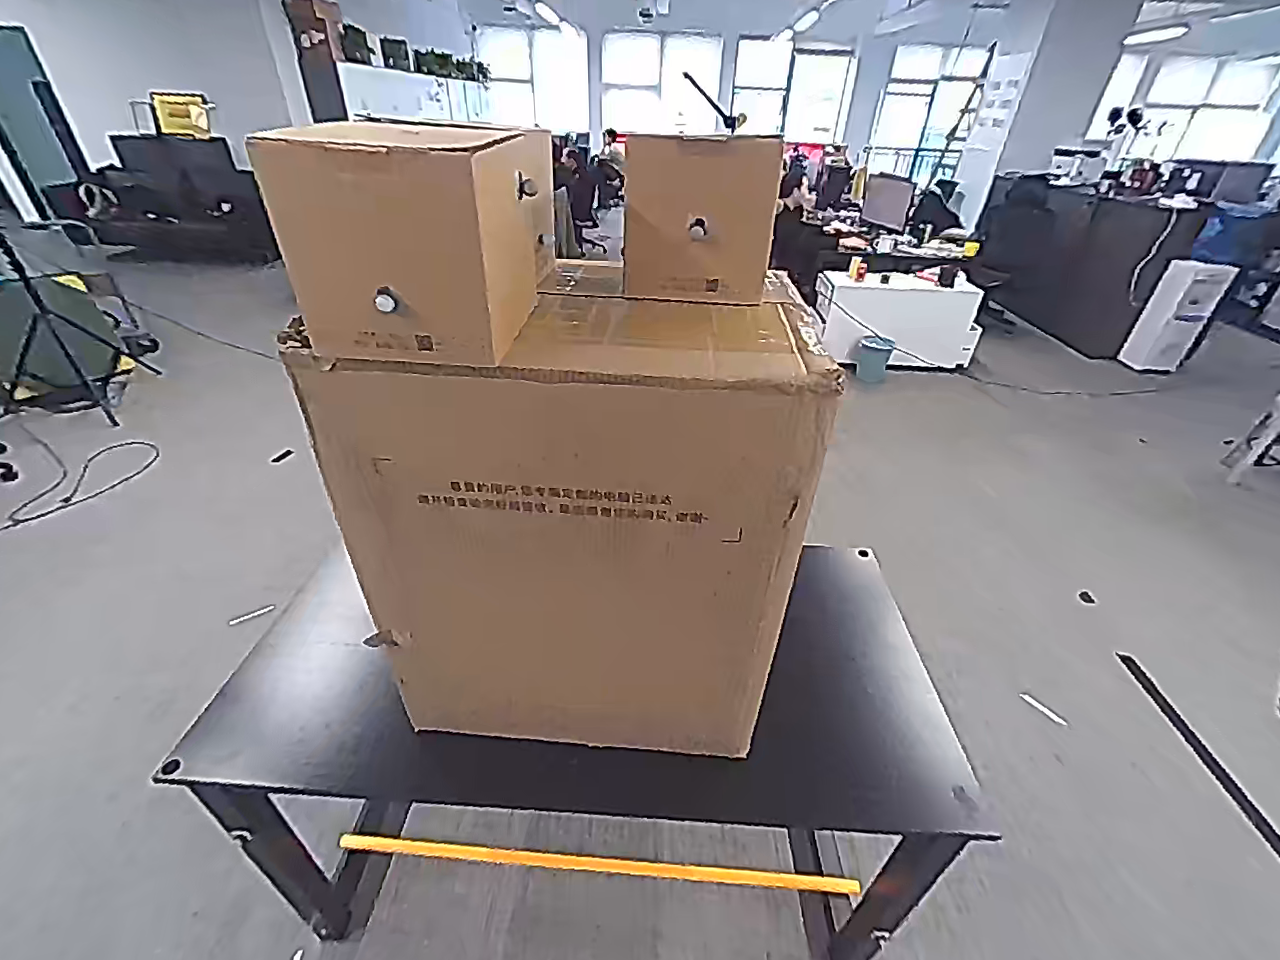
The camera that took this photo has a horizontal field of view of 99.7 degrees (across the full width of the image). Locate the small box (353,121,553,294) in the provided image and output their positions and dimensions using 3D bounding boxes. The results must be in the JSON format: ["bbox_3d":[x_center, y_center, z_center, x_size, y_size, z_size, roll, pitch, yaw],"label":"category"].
[{"bbox_3d":[-0.209,-0.332,0.661,0.179,0.176,0.168,4,33,1],"label":"small box"}]
